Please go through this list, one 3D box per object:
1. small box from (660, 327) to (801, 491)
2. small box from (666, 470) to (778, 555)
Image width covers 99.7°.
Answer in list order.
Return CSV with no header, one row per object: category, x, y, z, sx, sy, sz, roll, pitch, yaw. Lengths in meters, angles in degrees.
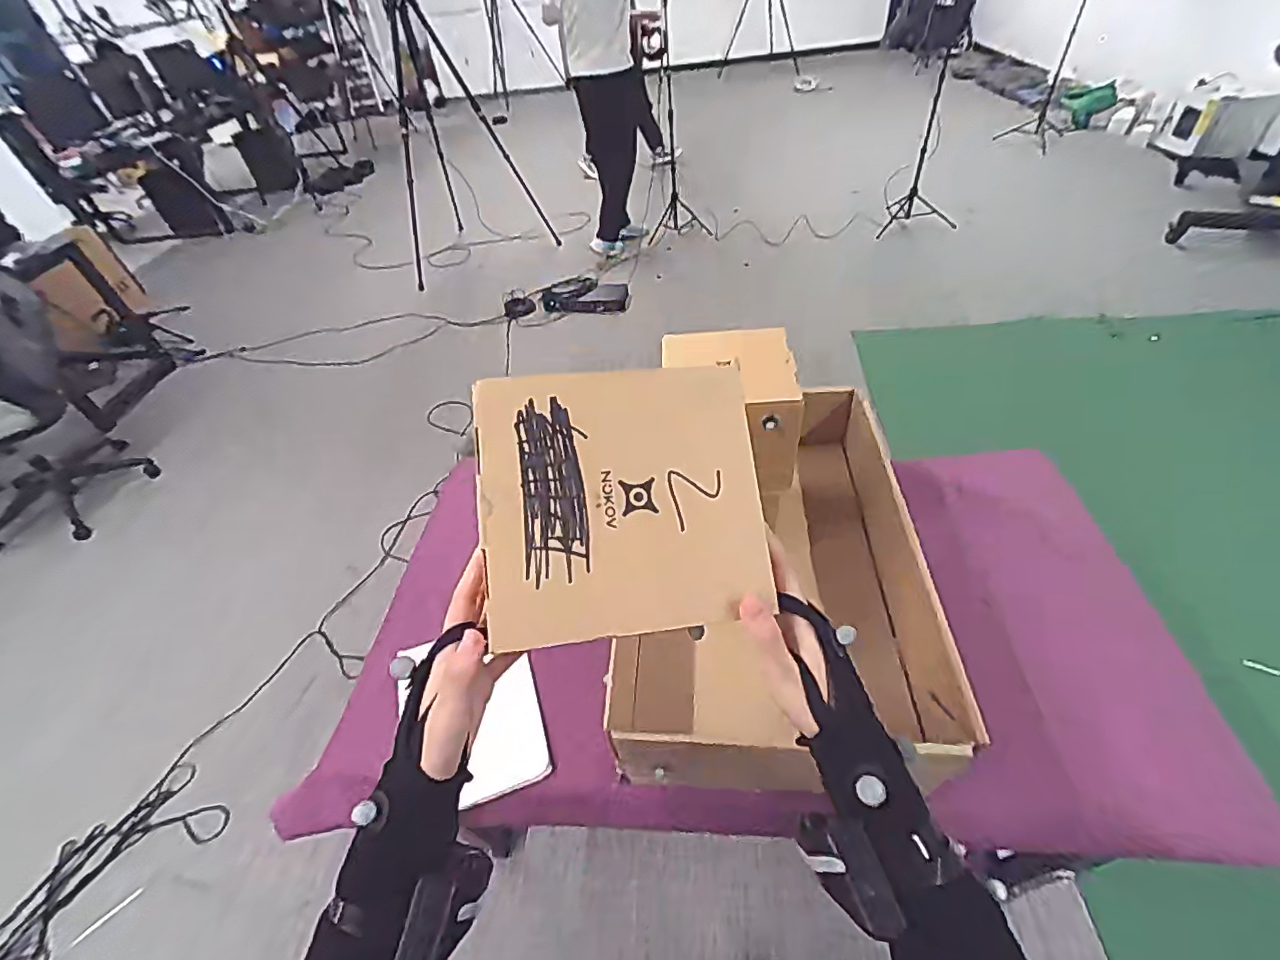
small box,0.123,-0.097,0.775,0.179,0.176,0.168,-3,47,5
small box,0.135,0.011,0.895,0.168,0.176,0.179,-1,47,7
